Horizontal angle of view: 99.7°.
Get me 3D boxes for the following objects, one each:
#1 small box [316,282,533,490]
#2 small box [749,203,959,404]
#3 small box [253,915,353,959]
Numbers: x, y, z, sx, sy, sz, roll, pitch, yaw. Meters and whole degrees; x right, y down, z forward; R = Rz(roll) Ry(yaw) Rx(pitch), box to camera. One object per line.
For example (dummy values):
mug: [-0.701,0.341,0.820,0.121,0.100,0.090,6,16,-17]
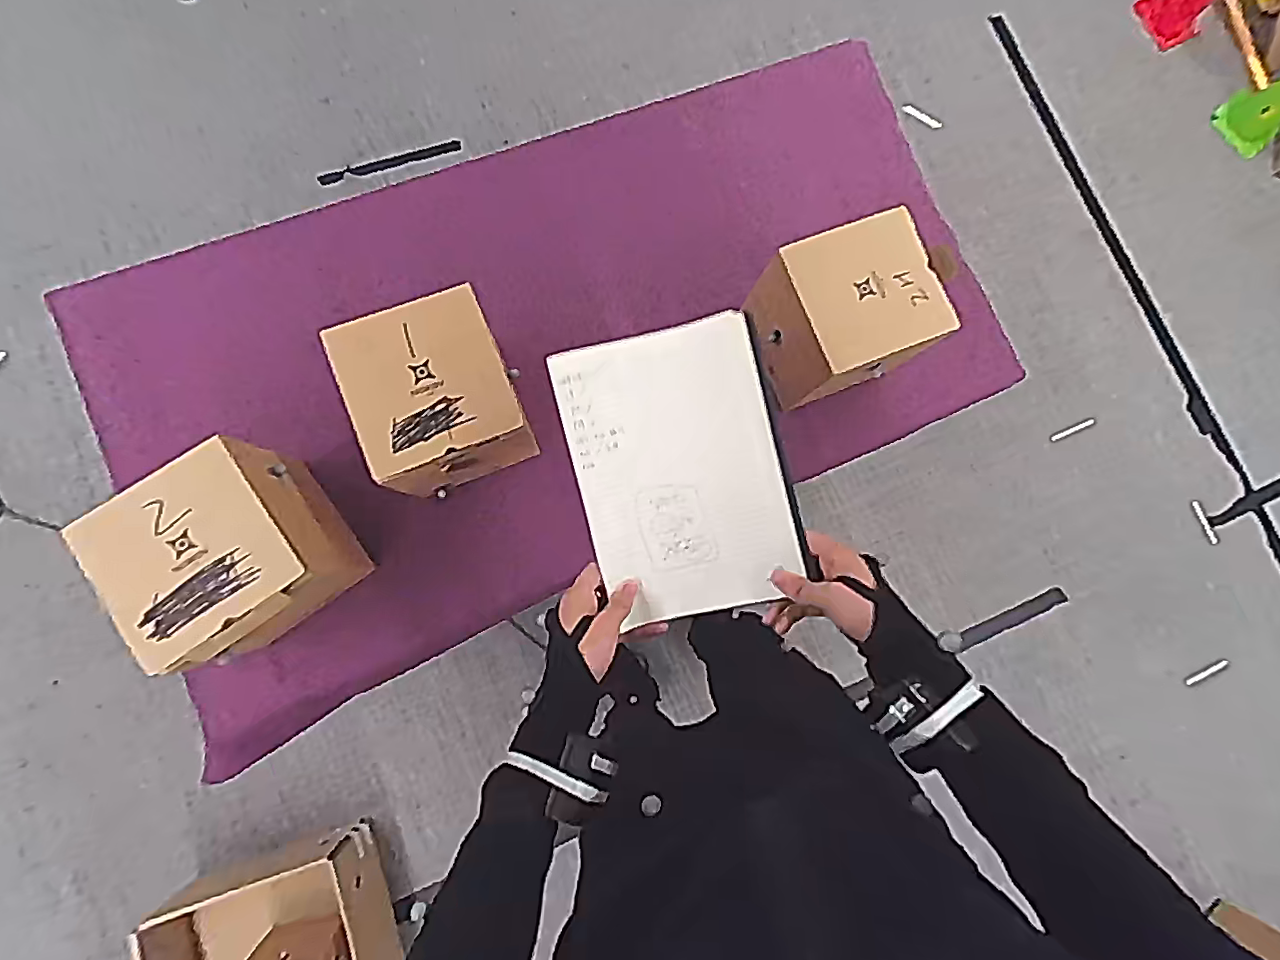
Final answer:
small box: [-0.237,-0.095,0.642,0.168,0.176,0.179,-22,85,-8]
small box: [0.258,-0.215,0.705,0.179,0.176,0.168,-21,86,-8]
small box: [-0.722,1.068,1.139,0.179,0.176,0.168,-9,84,-7]
